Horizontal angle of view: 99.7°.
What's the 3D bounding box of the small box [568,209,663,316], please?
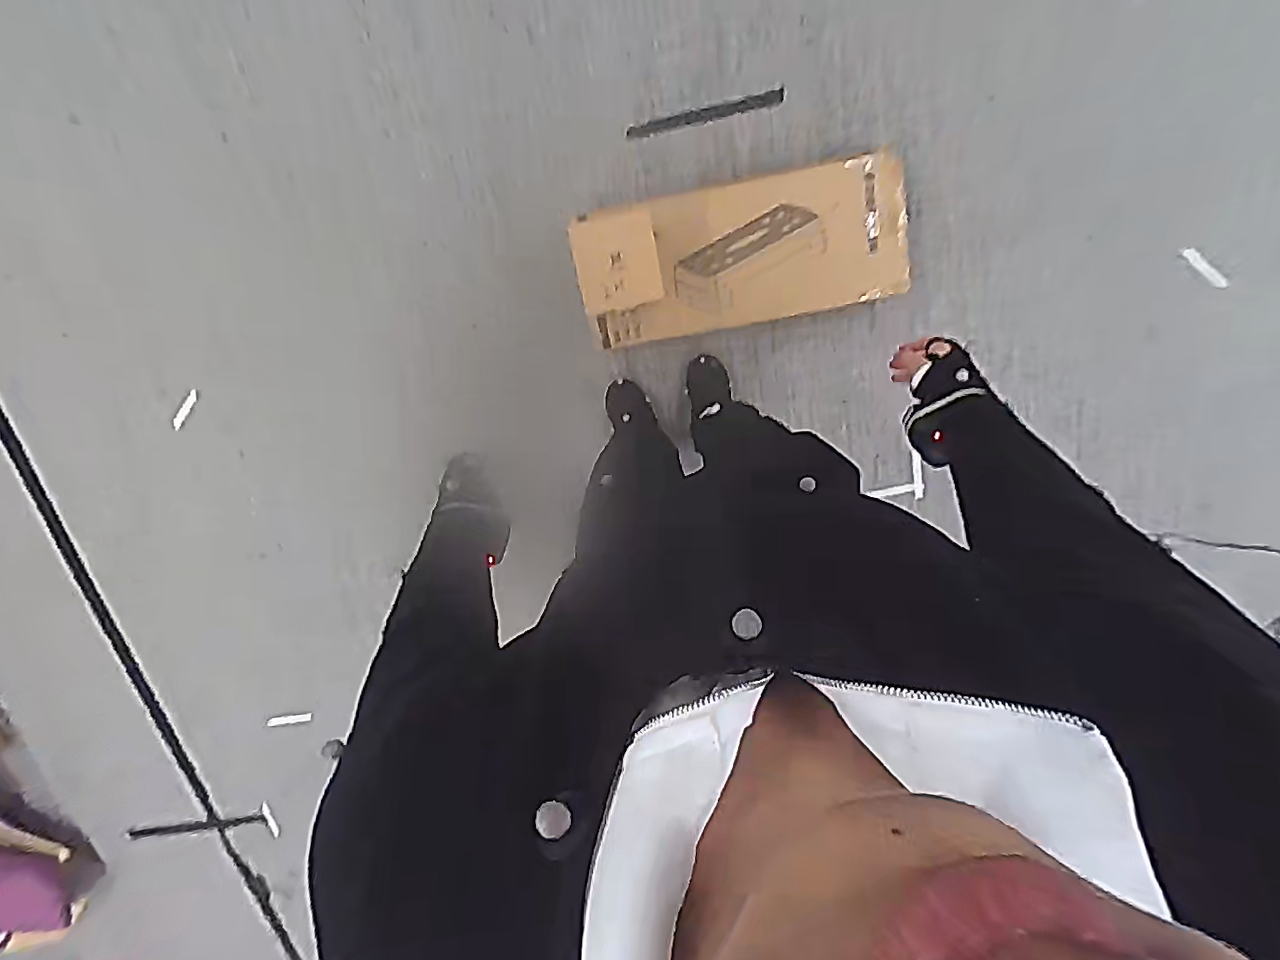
[{"bbox_3d":[-0.048,-0.454,1.153,0.168,0.176,0.179,-11,106,4],"label":"small box"}]
